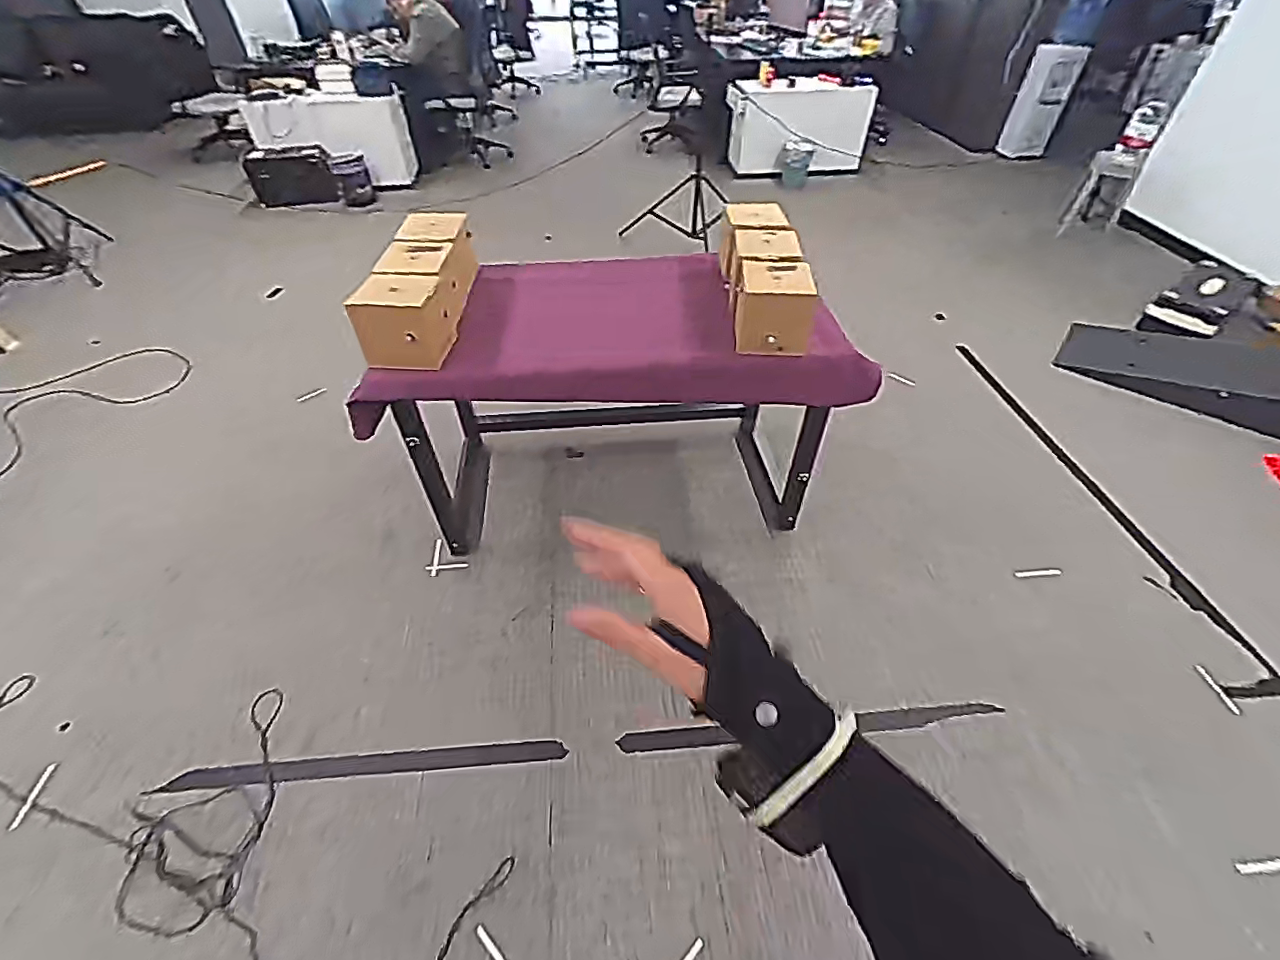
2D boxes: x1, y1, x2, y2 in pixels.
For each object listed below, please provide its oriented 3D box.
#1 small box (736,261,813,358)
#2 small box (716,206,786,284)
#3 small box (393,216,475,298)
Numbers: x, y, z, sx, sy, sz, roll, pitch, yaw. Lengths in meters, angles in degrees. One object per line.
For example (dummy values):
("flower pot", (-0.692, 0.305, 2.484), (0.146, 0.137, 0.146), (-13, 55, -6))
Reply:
("small box", (0.332, -0.431, 1.363), (0.168, 0.176, 0.179), (3, 50, 7))
("small box", (0.327, -0.708, 1.632), (0.168, 0.176, 0.179), (-1, 45, -2))
("small box", (-0.587, -0.649, 1.571), (0.168, 0.176, 0.179), (-1, 47, -1))
